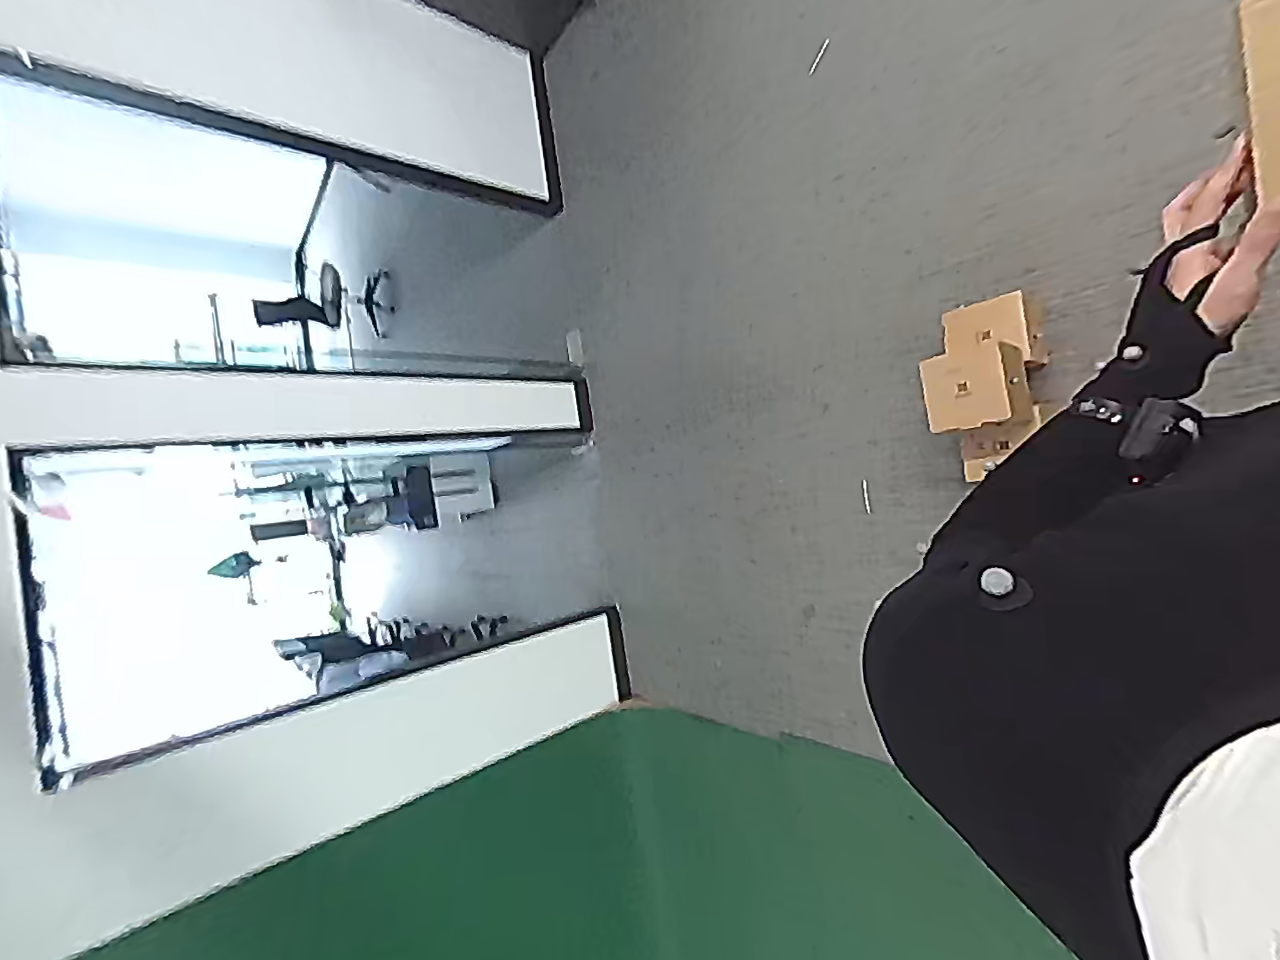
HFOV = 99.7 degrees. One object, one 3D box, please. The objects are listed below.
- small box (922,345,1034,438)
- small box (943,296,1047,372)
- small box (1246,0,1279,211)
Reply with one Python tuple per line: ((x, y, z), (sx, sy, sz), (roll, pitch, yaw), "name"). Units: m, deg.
((0.787, -0.199, 1.255), (0.168, 0.176, 0.179), (-13, 83, 49), "small box")
((0.898, -0.346, 1.360), (0.179, 0.176, 0.168), (-10, 87, 50), "small box")
((0.566, -0.309, 0.379), (0.179, 0.176, 0.168), (-5, 102, 47), "small box")
